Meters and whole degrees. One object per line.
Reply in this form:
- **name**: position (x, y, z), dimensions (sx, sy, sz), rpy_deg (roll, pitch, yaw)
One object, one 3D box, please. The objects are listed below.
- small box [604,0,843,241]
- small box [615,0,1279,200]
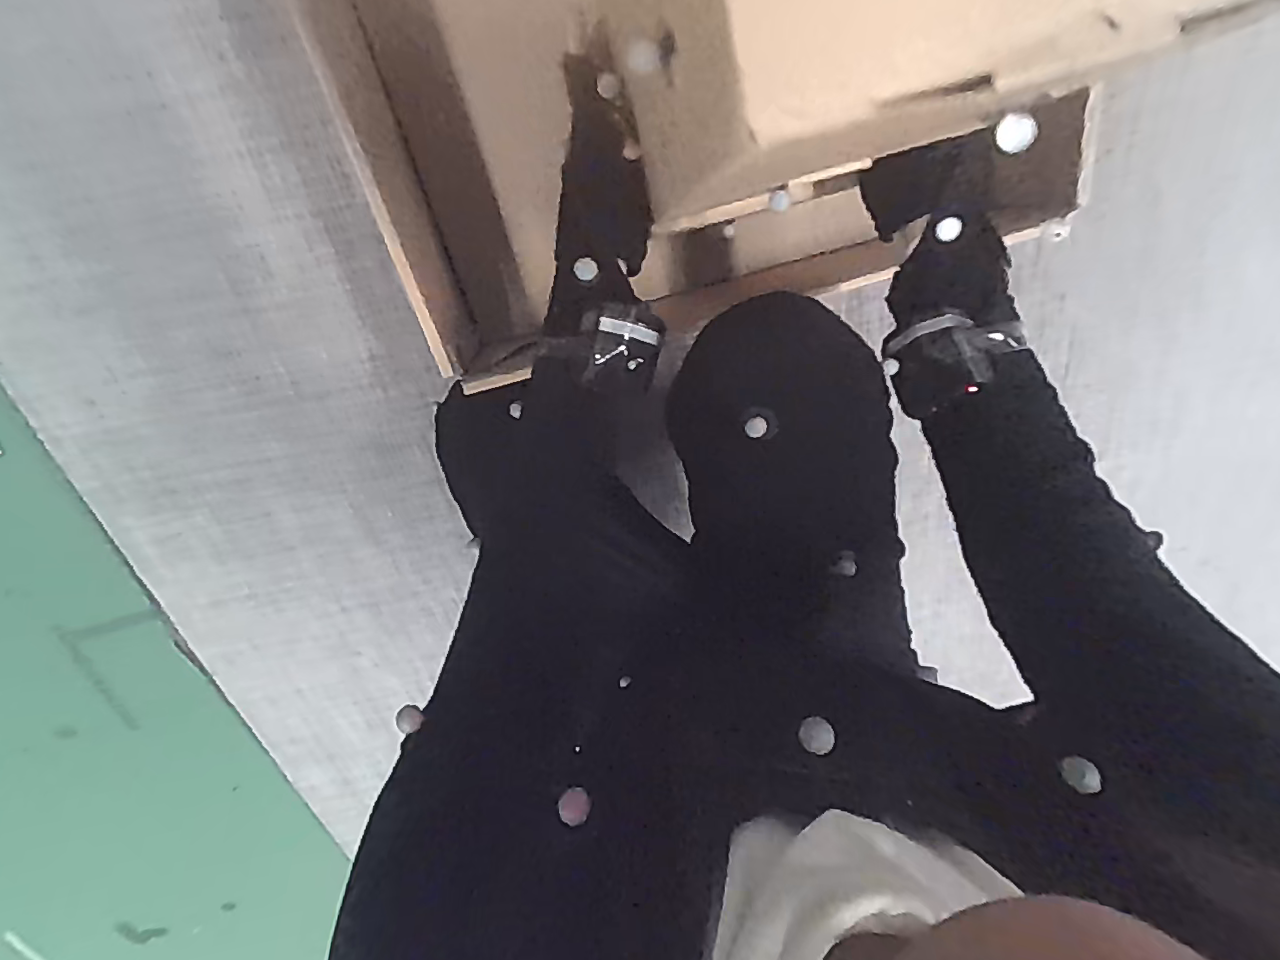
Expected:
- **small box**: position (0.067, -0.327, 0.500), dimensions (0.179, 0.176, 0.168), rpy_deg (-12, 112, 2)
- **small box**: position (0.074, -0.207, 0.180), dimensions (0.168, 0.176, 0.179), rpy_deg (-14, 111, 2)
